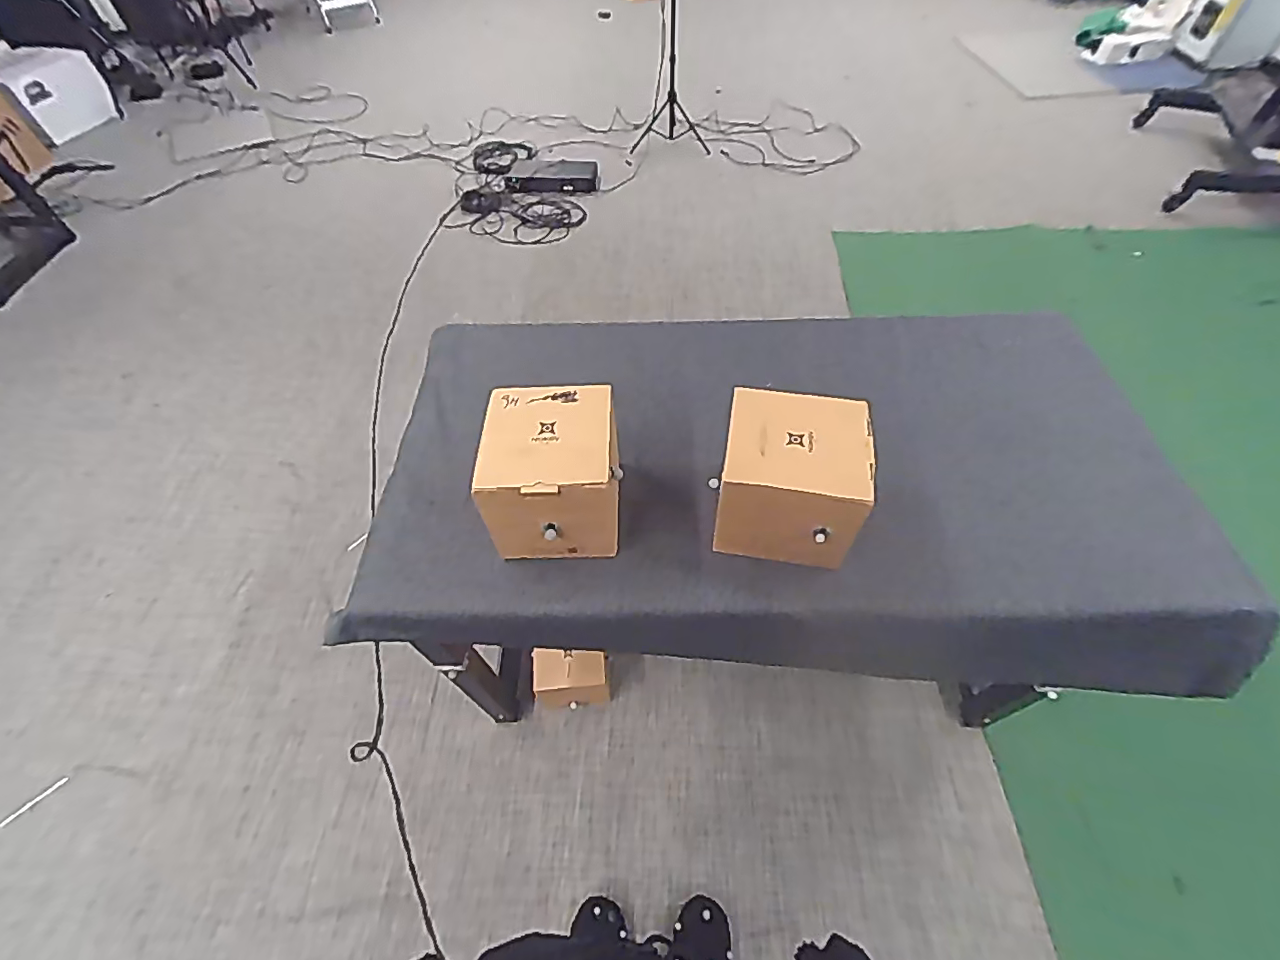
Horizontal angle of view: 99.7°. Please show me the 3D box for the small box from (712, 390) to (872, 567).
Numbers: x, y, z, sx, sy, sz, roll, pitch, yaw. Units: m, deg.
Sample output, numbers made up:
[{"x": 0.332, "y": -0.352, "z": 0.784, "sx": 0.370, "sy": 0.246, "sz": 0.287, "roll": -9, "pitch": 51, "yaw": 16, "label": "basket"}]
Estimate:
[{"x": 0.200, "y": 0.003, "z": 0.742, "sx": 0.179, "sy": 0.176, "sz": 0.168, "roll": 8, "pitch": 54, "yaw": 9, "label": "small box"}]

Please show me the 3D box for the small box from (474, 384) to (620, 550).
[{"x": -0.115, "y": -0.013, "z": 0.758, "sx": 0.168, "sy": 0.176, "sz": 0.179, "roll": 0, "pitch": 54, "yaw": 1, "label": "small box"}]
